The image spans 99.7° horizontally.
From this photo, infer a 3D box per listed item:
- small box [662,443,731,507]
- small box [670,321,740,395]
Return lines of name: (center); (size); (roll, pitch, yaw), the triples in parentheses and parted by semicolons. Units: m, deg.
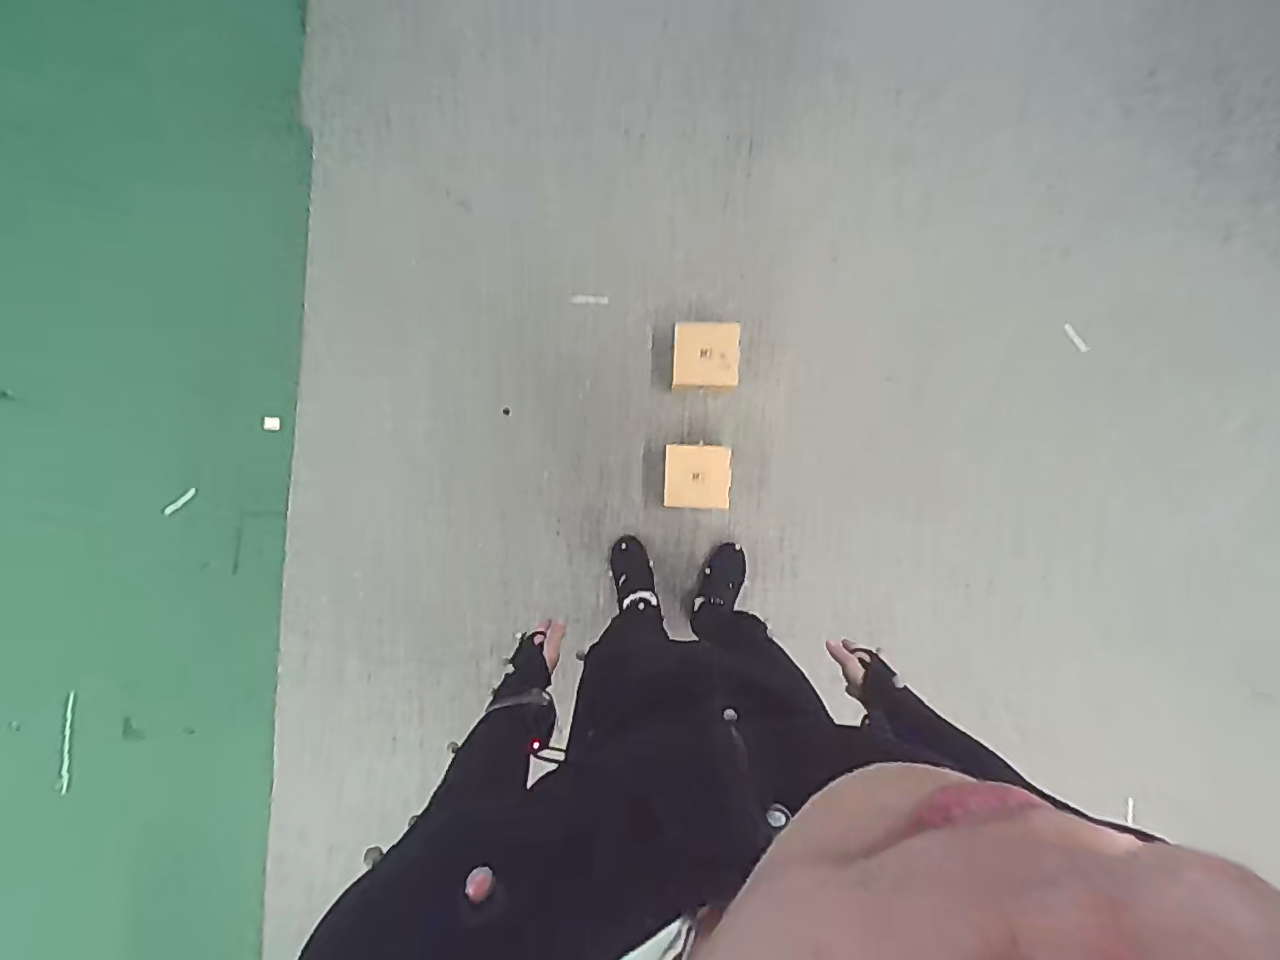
small box: (0.152, -0.010, 1.505); (0.179, 0.176, 0.168); (2, 89, 1)
small box: (0.176, -0.334, 1.506); (0.179, 0.176, 0.168); (3, 90, 2)
